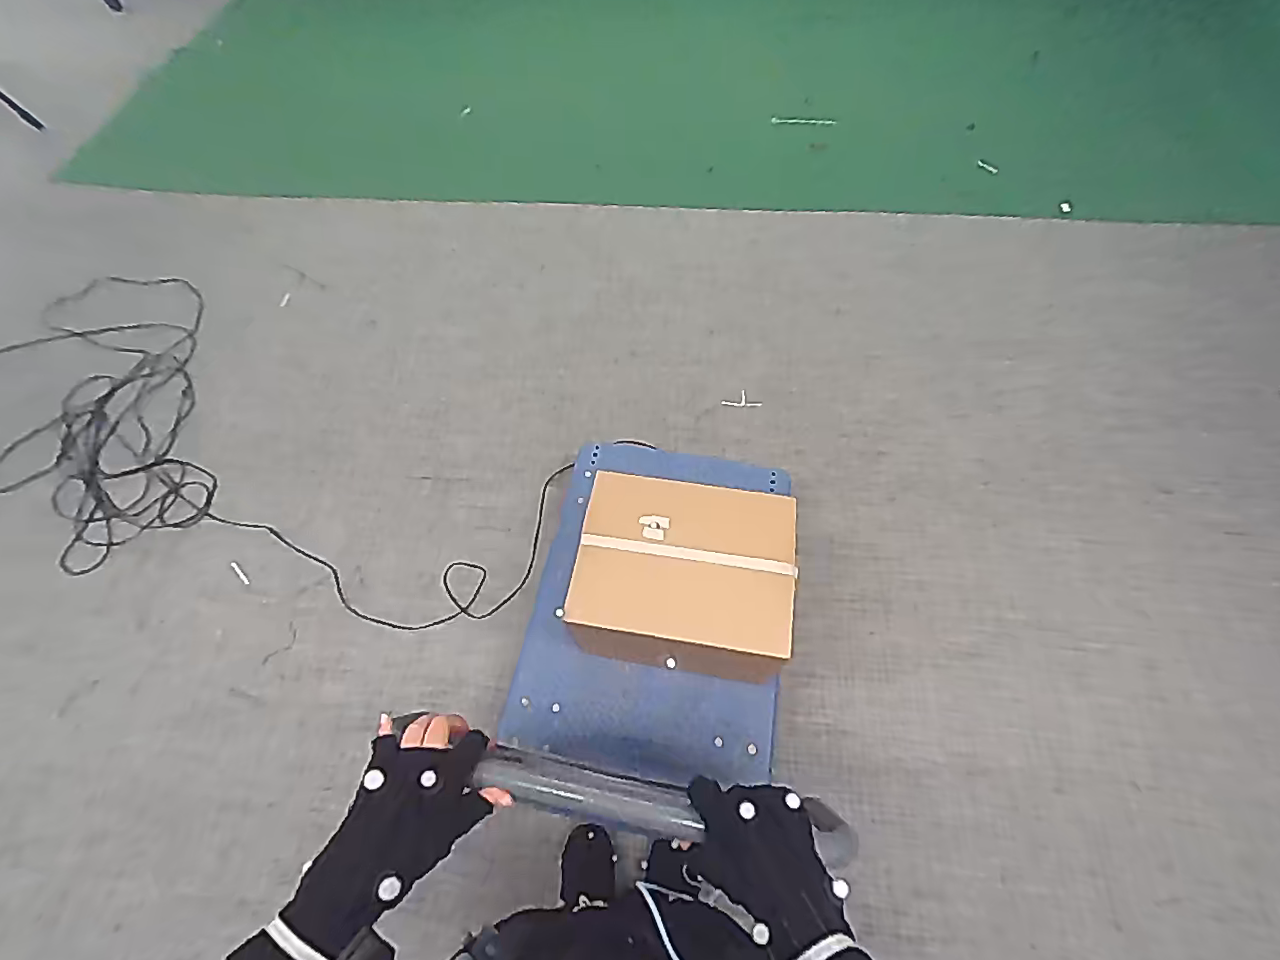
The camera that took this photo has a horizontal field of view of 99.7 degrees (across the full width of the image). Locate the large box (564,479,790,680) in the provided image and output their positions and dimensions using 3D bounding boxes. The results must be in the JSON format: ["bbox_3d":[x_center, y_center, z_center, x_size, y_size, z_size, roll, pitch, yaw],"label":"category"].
[{"bbox_3d":[0.090,0.222,1.154,0.408,0.320,0.320,7,61,7],"label":"large box"}]
